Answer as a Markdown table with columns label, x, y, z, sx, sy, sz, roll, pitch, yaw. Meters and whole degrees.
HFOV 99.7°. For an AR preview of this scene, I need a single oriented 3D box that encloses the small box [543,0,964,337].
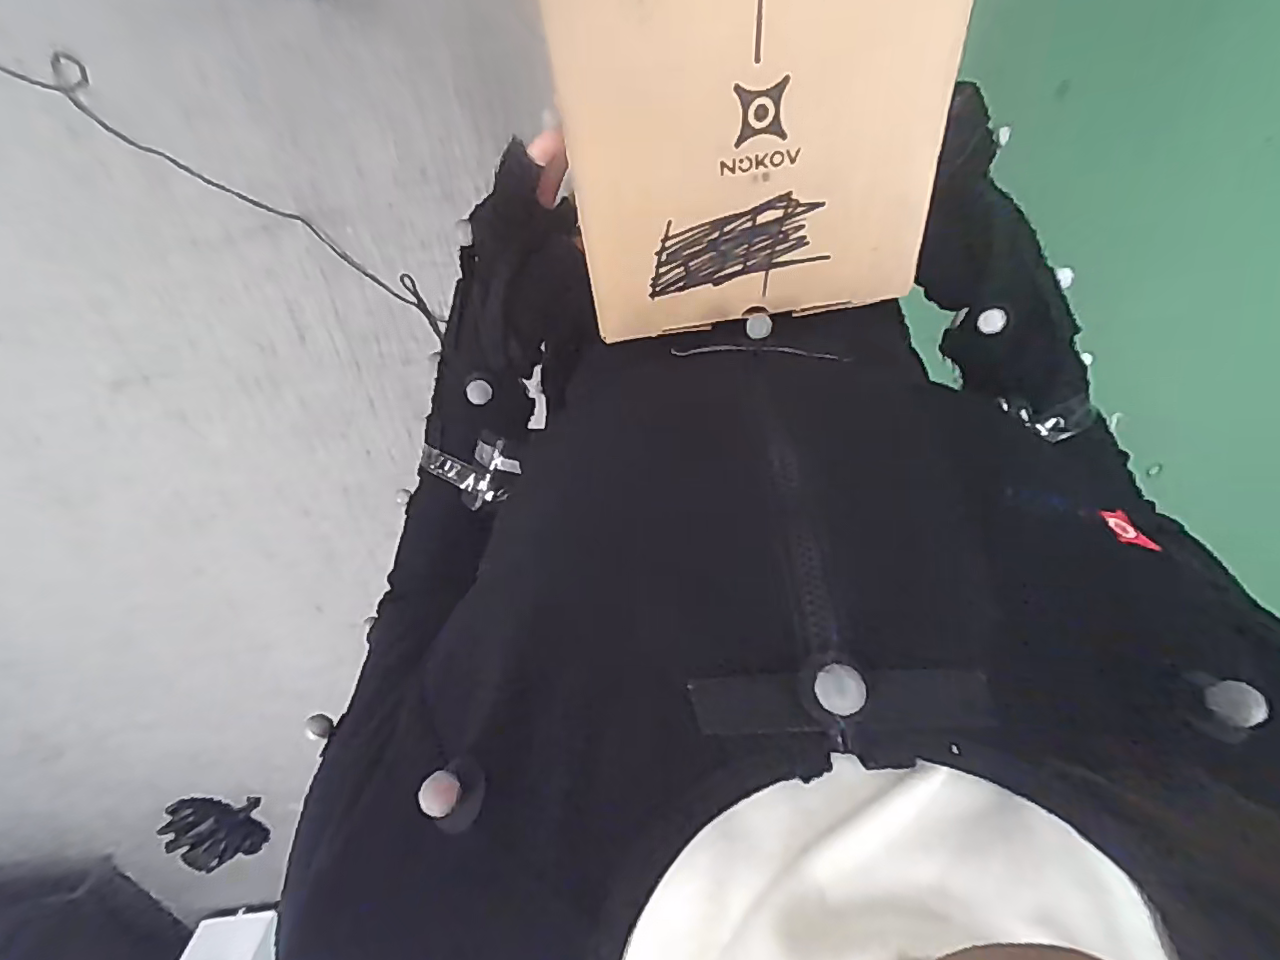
| label | x | y | z | sx | sy | sz | roll | pitch | yaw |
| --- | --- | --- | --- | --- | --- | --- | --- | --- | --- |
| small box | 0.045 | -0.206 | 0.301 | 0.168 | 0.176 | 0.179 | -8 | 133 | 1 |
